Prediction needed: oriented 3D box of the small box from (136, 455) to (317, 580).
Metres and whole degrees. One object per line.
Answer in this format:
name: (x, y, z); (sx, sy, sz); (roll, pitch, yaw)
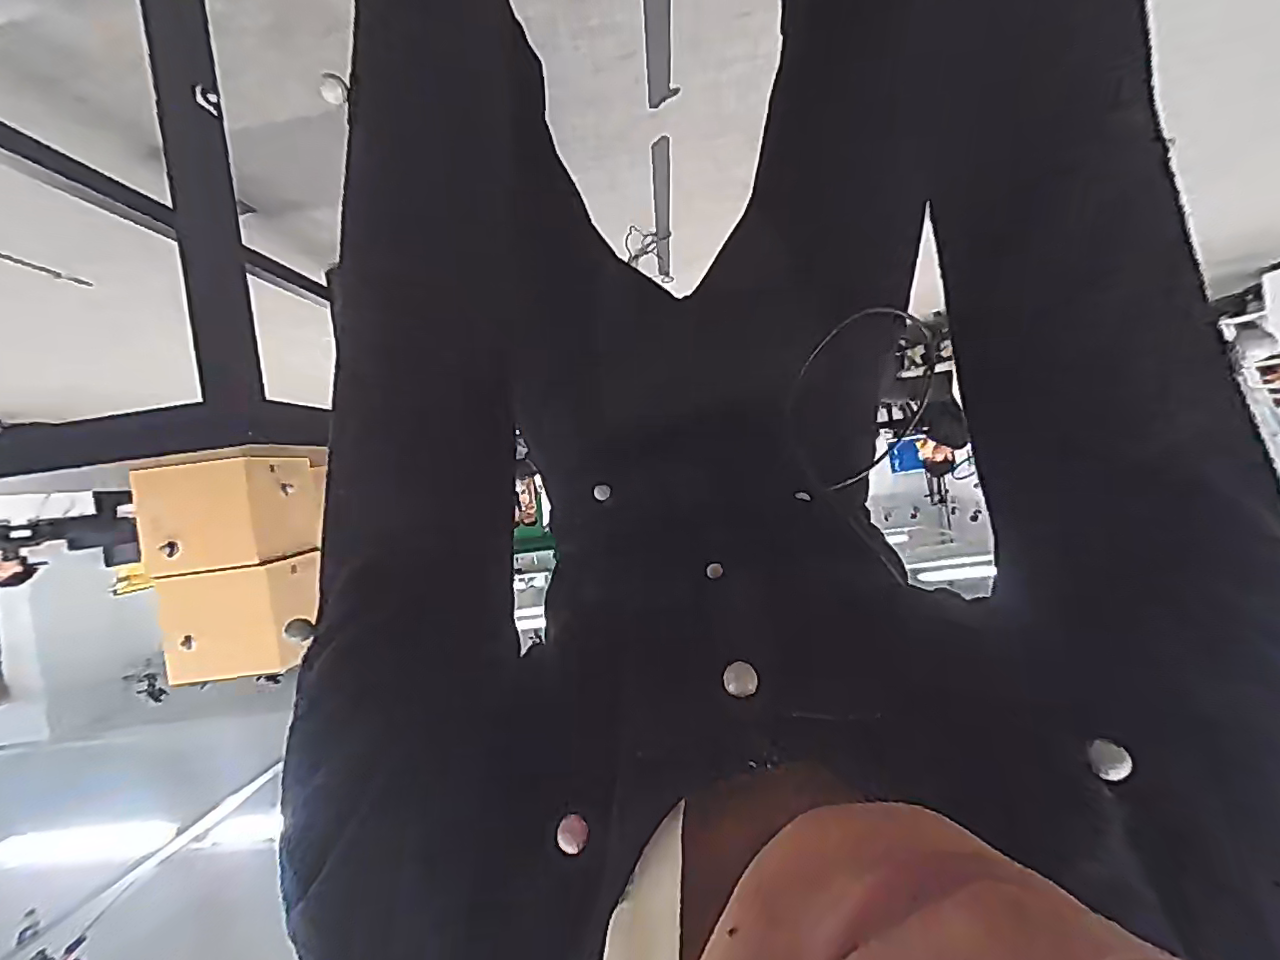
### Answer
small box: (-0.666, 0.055, 0.881); (0.179, 0.176, 0.168); (-7, -178, 0)
